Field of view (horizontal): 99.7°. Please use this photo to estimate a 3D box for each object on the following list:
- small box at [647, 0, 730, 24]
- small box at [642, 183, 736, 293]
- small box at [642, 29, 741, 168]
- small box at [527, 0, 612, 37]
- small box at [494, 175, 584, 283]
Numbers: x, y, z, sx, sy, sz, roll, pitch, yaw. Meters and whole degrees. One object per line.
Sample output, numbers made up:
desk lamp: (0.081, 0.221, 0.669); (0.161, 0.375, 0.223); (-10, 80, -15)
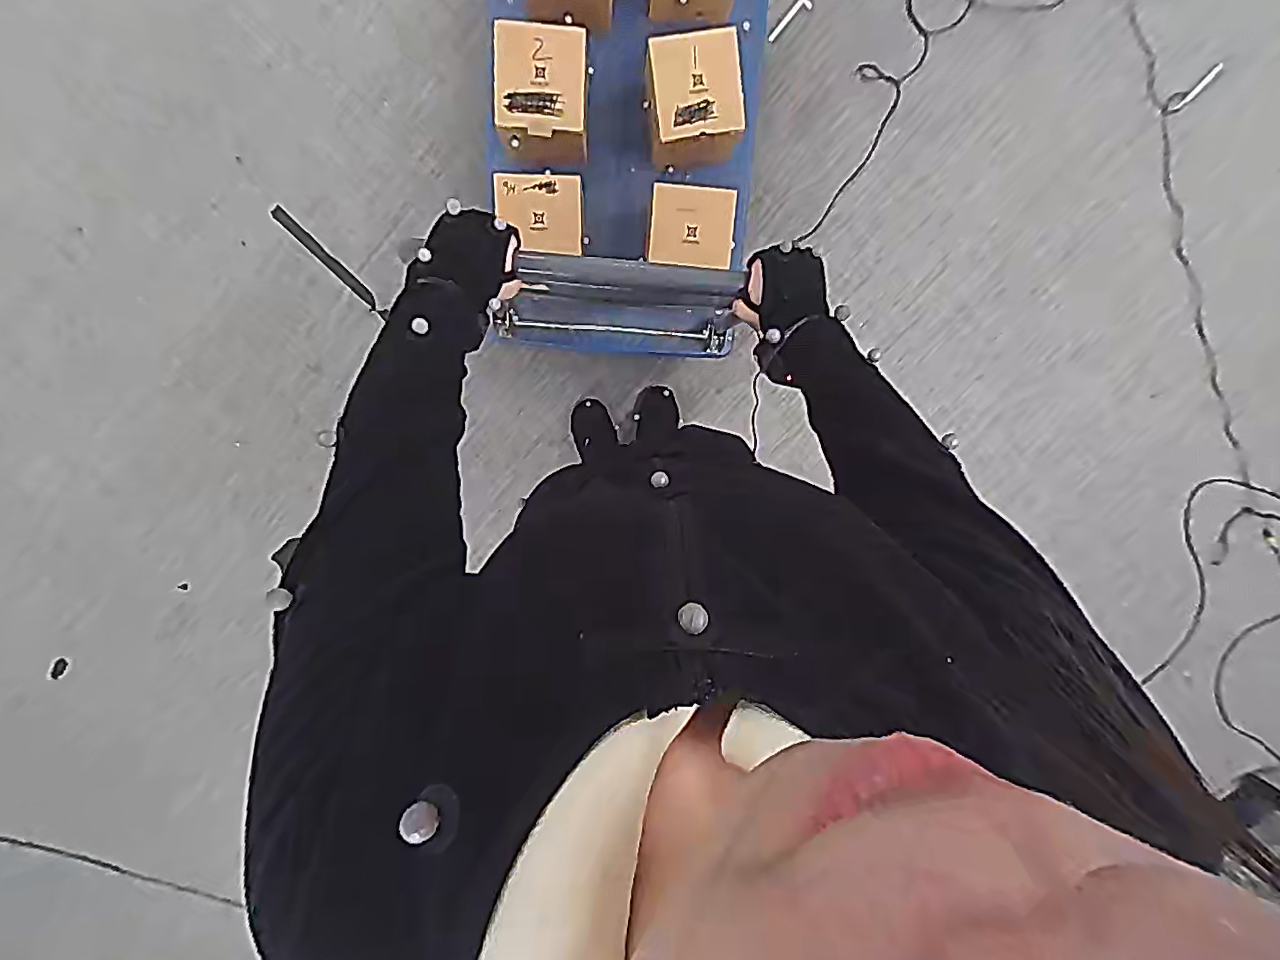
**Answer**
small box: (0.101, -1.019, 1.034); (0.168, 0.176, 0.179); (0, 102, -4)
small box: (0.096, -0.501, 1.144); (0.168, 0.176, 0.179); (3, 101, -5)
small box: (0.099, -0.753, 1.090); (0.168, 0.176, 0.179); (-9, 102, -2)
small box: (-0.133, -0.995, 1.021); (0.168, 0.176, 0.179); (5, 103, -5)
small box: (-0.201, -0.511, 1.122); (0.168, 0.176, 0.179); (0, 103, -4)
